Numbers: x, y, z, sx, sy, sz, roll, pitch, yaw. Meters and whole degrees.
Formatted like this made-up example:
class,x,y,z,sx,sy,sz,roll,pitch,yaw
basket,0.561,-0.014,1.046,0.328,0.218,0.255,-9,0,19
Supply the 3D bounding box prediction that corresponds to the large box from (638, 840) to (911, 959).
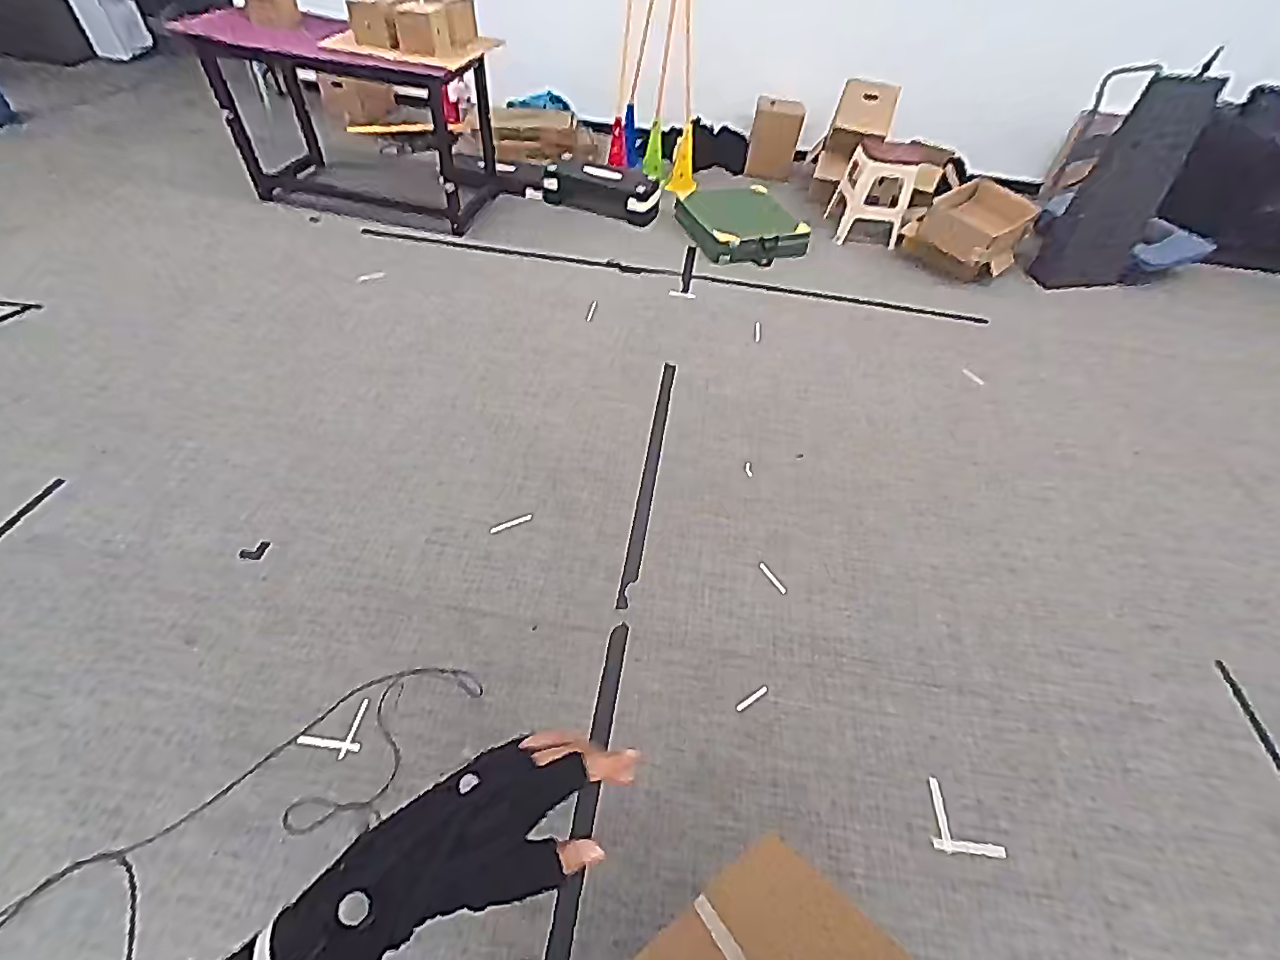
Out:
class,x,y,z,sx,sy,sz,roll,pitch,yaw
large box,0.226,0.768,0.677,0.320,0.408,0.320,-32,88,-18
